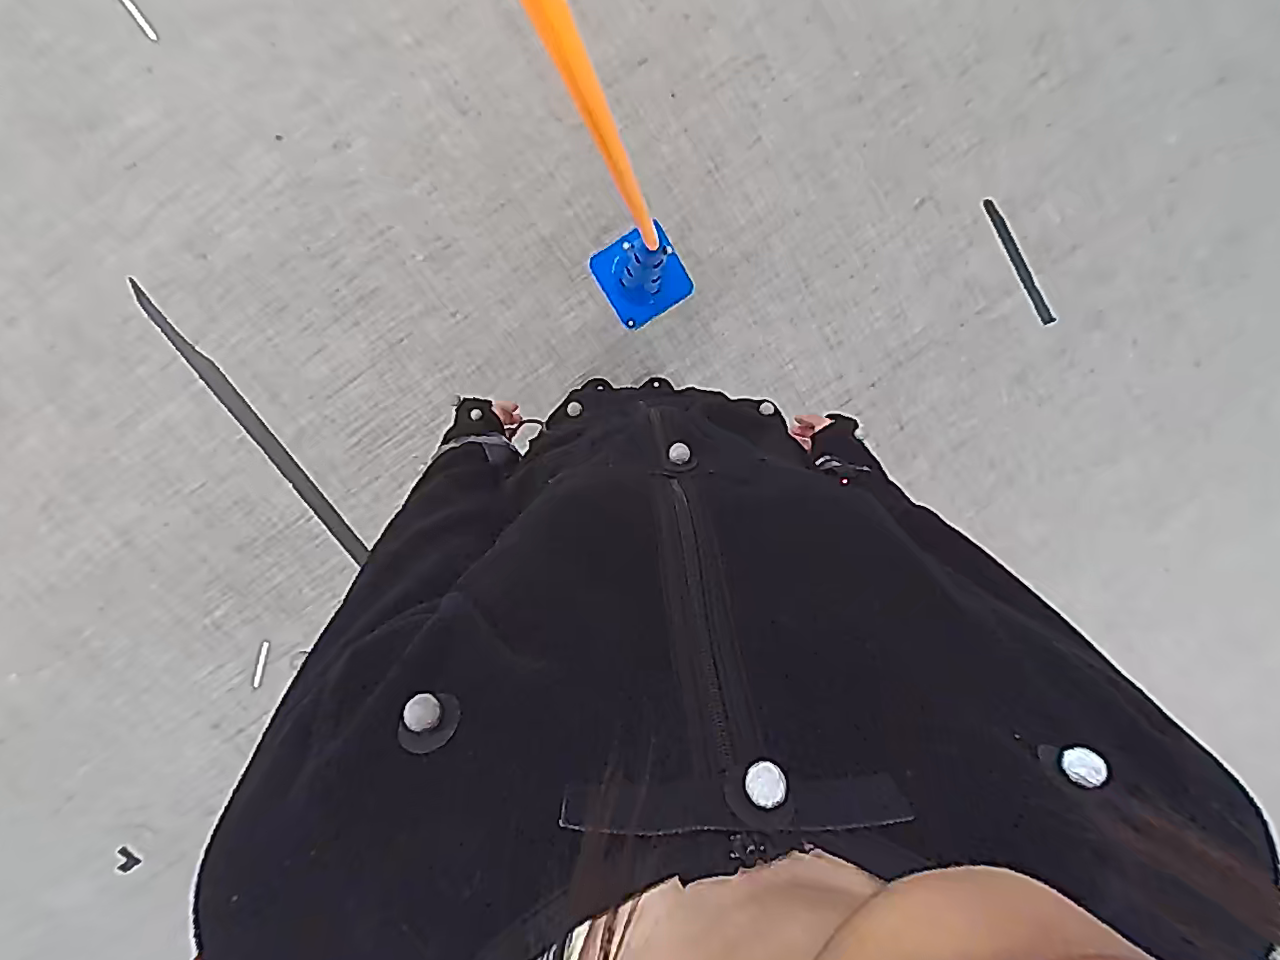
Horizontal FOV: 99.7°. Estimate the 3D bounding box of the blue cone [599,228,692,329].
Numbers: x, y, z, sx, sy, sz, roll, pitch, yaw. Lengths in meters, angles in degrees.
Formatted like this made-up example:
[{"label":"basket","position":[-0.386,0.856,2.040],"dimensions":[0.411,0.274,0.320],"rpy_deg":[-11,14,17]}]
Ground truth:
[{"label":"blue cone","position":[0.022,-0.461,1.161],"dimensions":[0.193,0.380,0.192],"rpy_deg":[-30,103,3]}]
